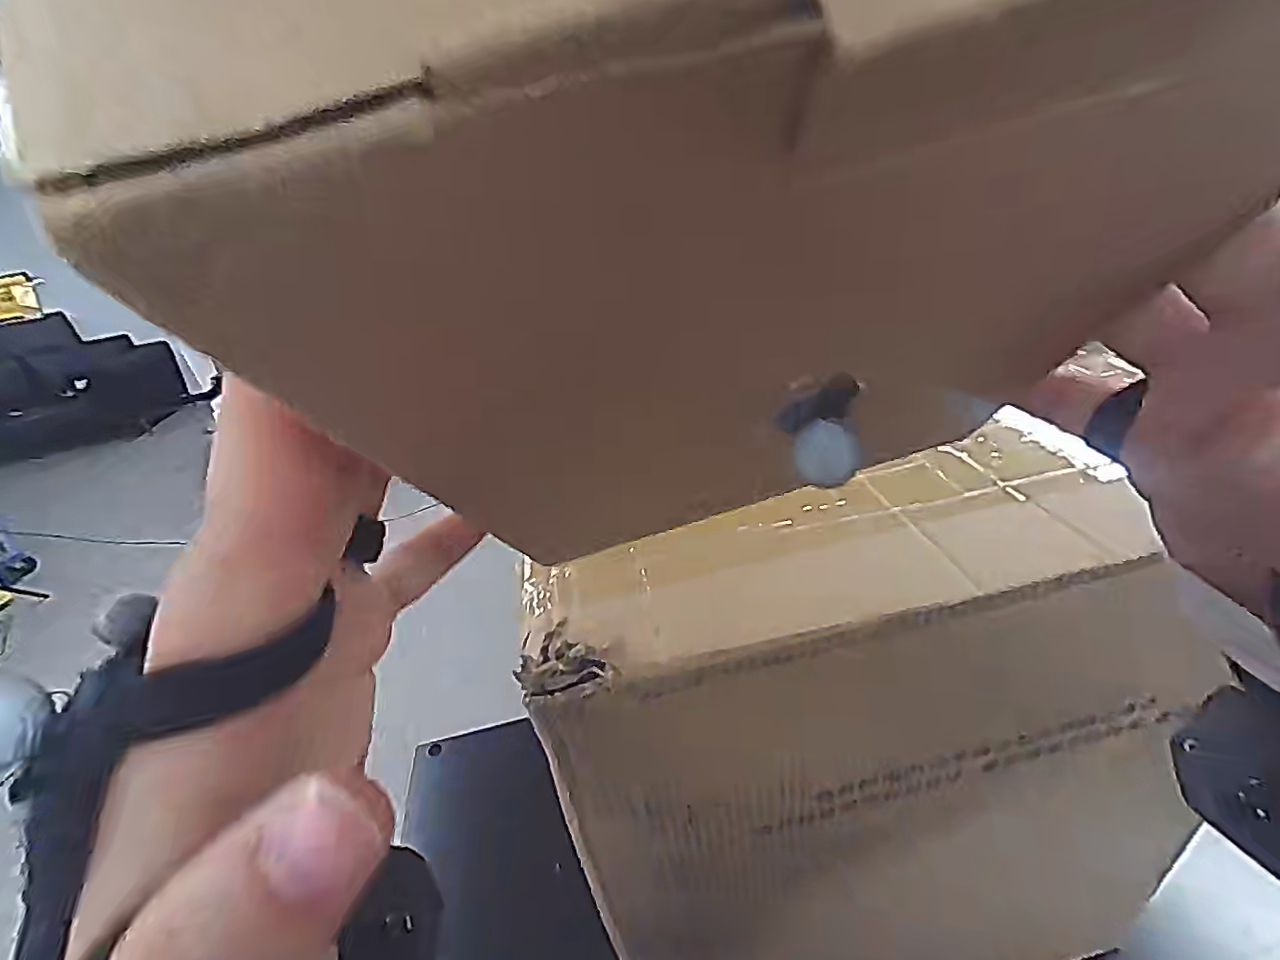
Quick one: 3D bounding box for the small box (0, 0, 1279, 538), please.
[{"bbox_3d":[0.013,-0.093,0.139,0.168,0.176,0.179,-18,73,-1],"label":"small box"}]
